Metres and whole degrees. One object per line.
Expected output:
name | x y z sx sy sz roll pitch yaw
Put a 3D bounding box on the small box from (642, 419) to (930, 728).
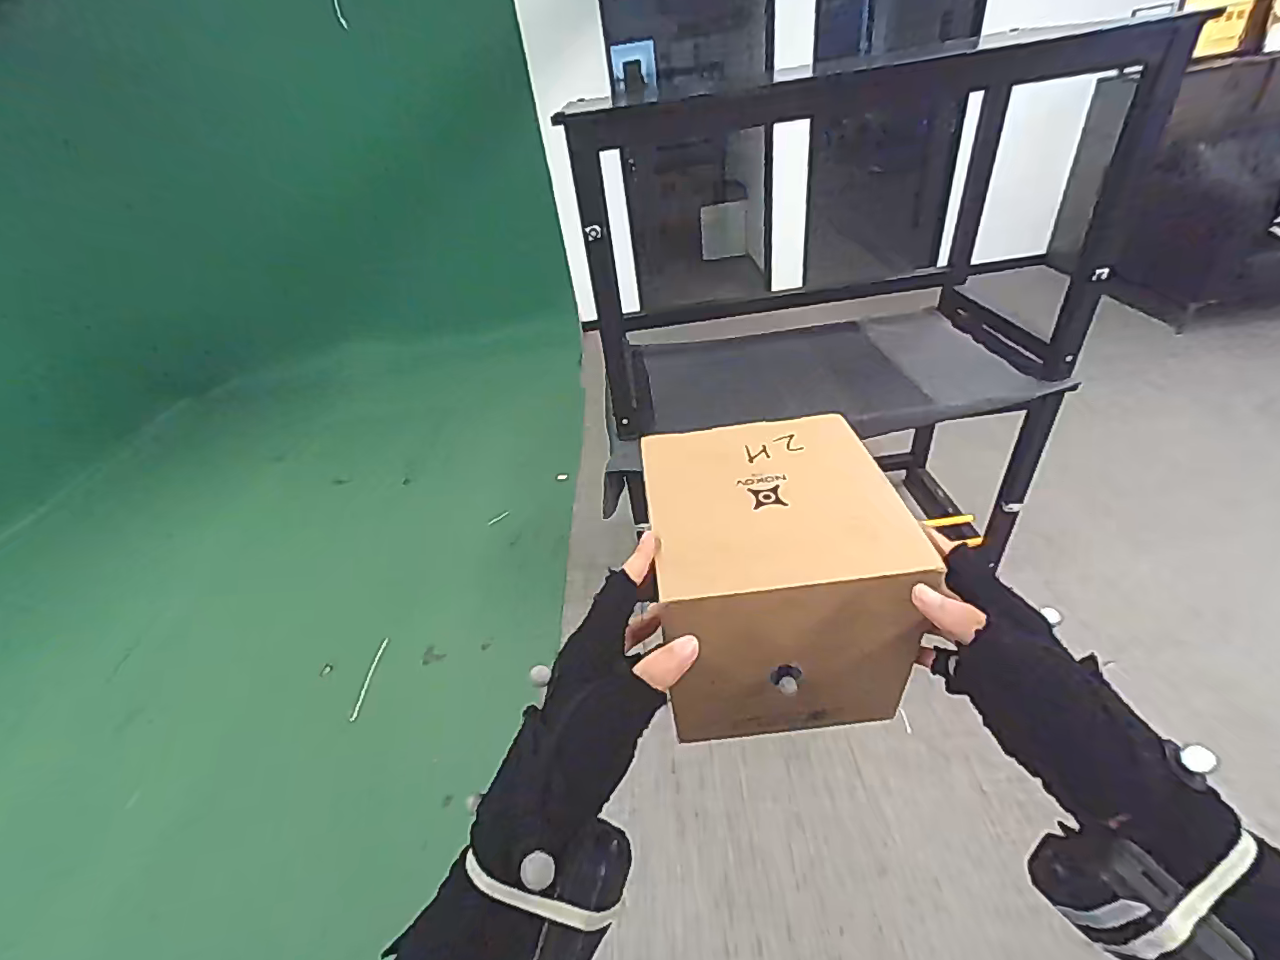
small box | 0.095 0.075 0.427 0.168 0.176 0.179 -6 36 1
